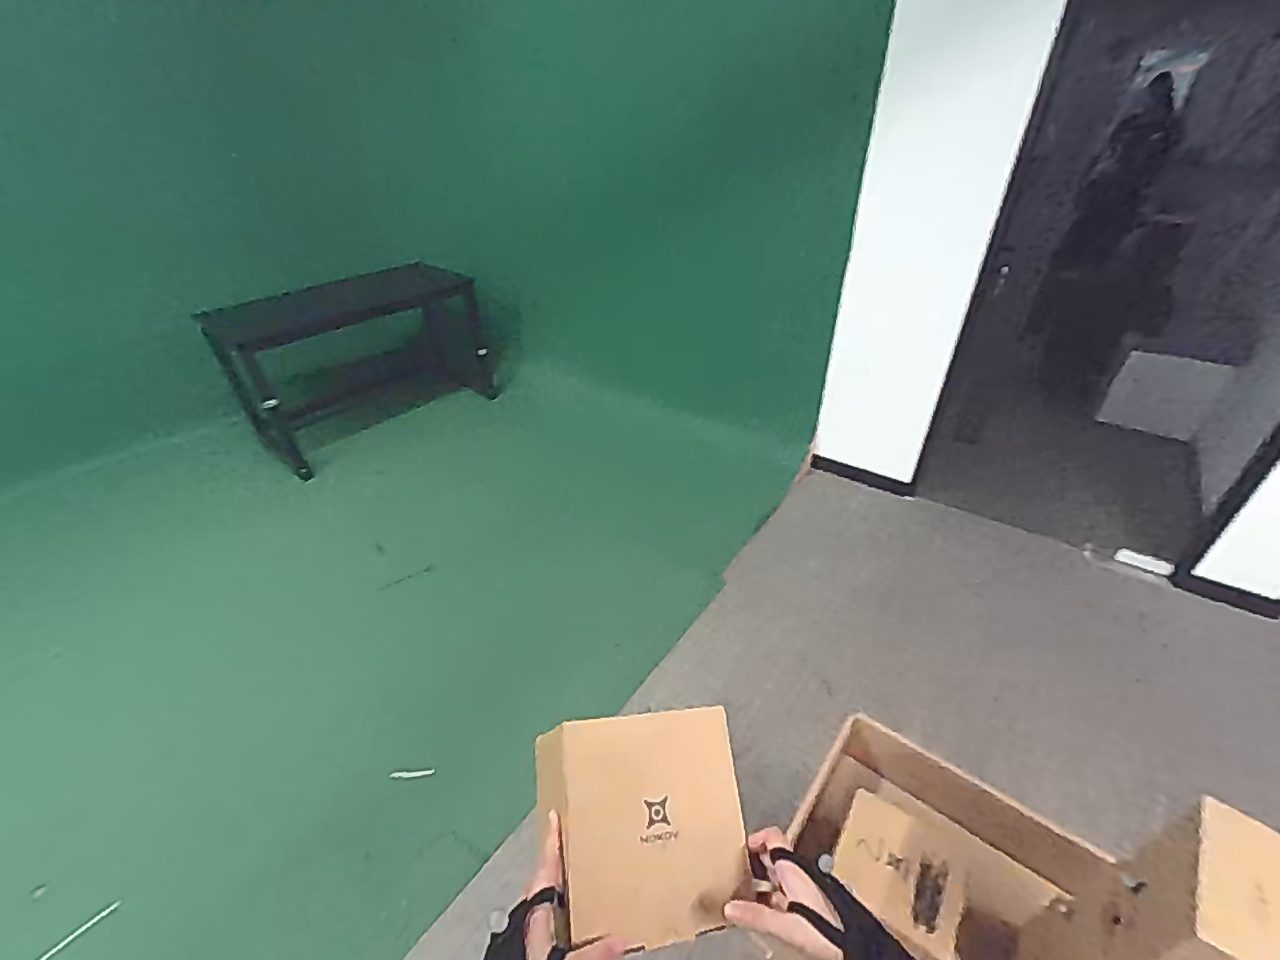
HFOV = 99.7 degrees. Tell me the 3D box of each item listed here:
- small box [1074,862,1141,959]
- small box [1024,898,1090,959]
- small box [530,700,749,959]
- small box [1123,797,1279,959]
[{"bbox_3d":[0.624,0.602,0.618,0.179,0.176,0.168,27,45,34],"label":"small box"},{"bbox_3d":[0.622,0.729,0.722,0.168,0.176,0.179,28,46,36],"label":"small box"},{"bbox_3d":[-0.017,0.330,0.538,0.168,0.176,0.179,2,61,-18],"label":"small box"},{"bbox_3d":[0.628,0.467,0.526,0.179,0.176,0.168,26,44,35],"label":"small box"}]
